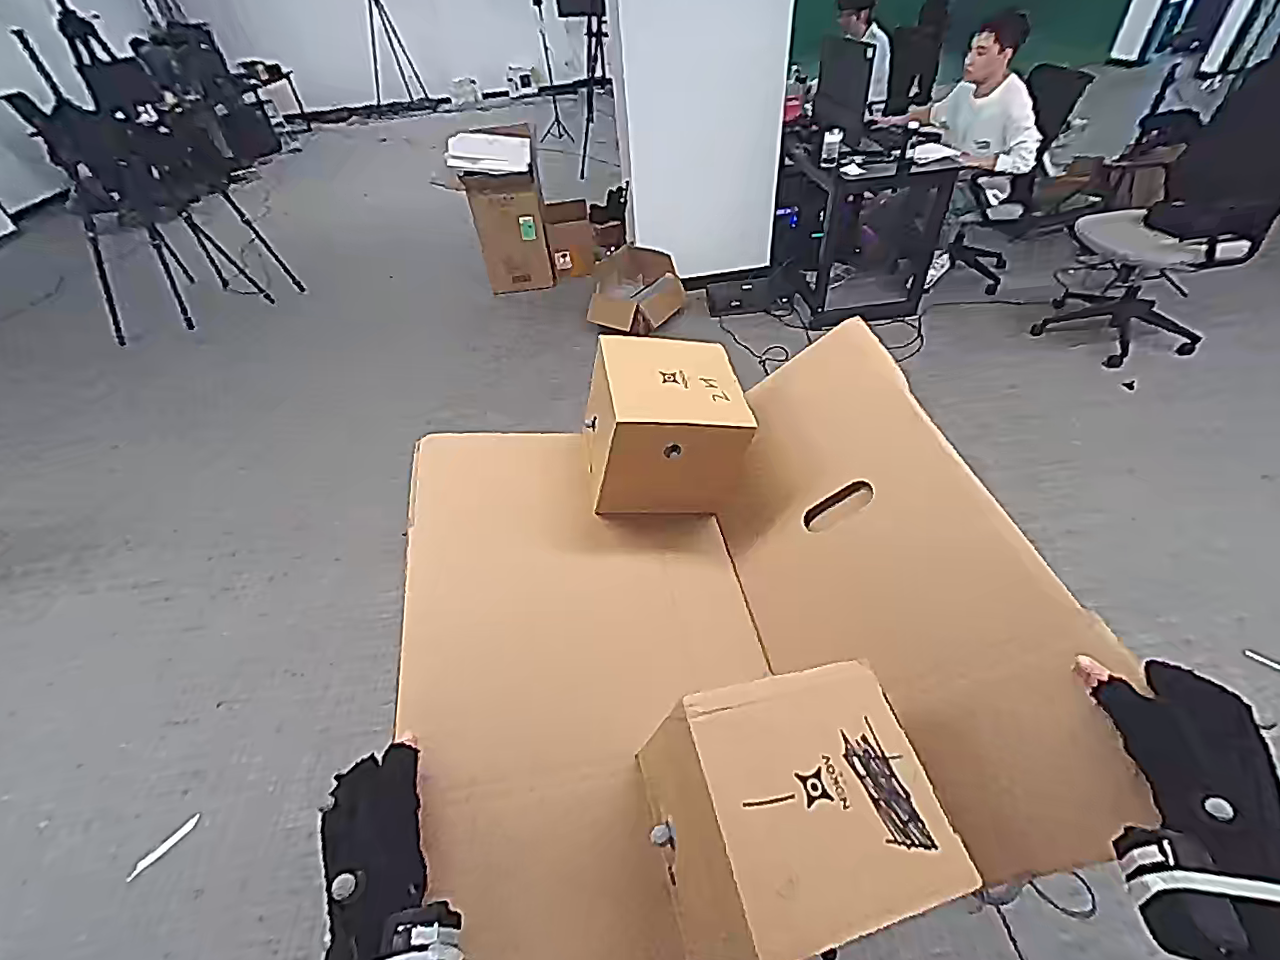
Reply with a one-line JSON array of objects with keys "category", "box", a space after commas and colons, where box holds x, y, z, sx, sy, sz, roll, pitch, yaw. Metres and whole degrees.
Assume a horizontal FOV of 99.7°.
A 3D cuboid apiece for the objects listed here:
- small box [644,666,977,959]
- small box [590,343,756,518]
[{"category": "small box", "box": [0.118, 0.278, 0.453, 0.179, 0.176, 0.168, -4, 51, -18]}, {"category": "small box", "box": [0.029, -0.062, 0.729, 0.179, 0.176, 0.168, 2, 49, -15]}]
